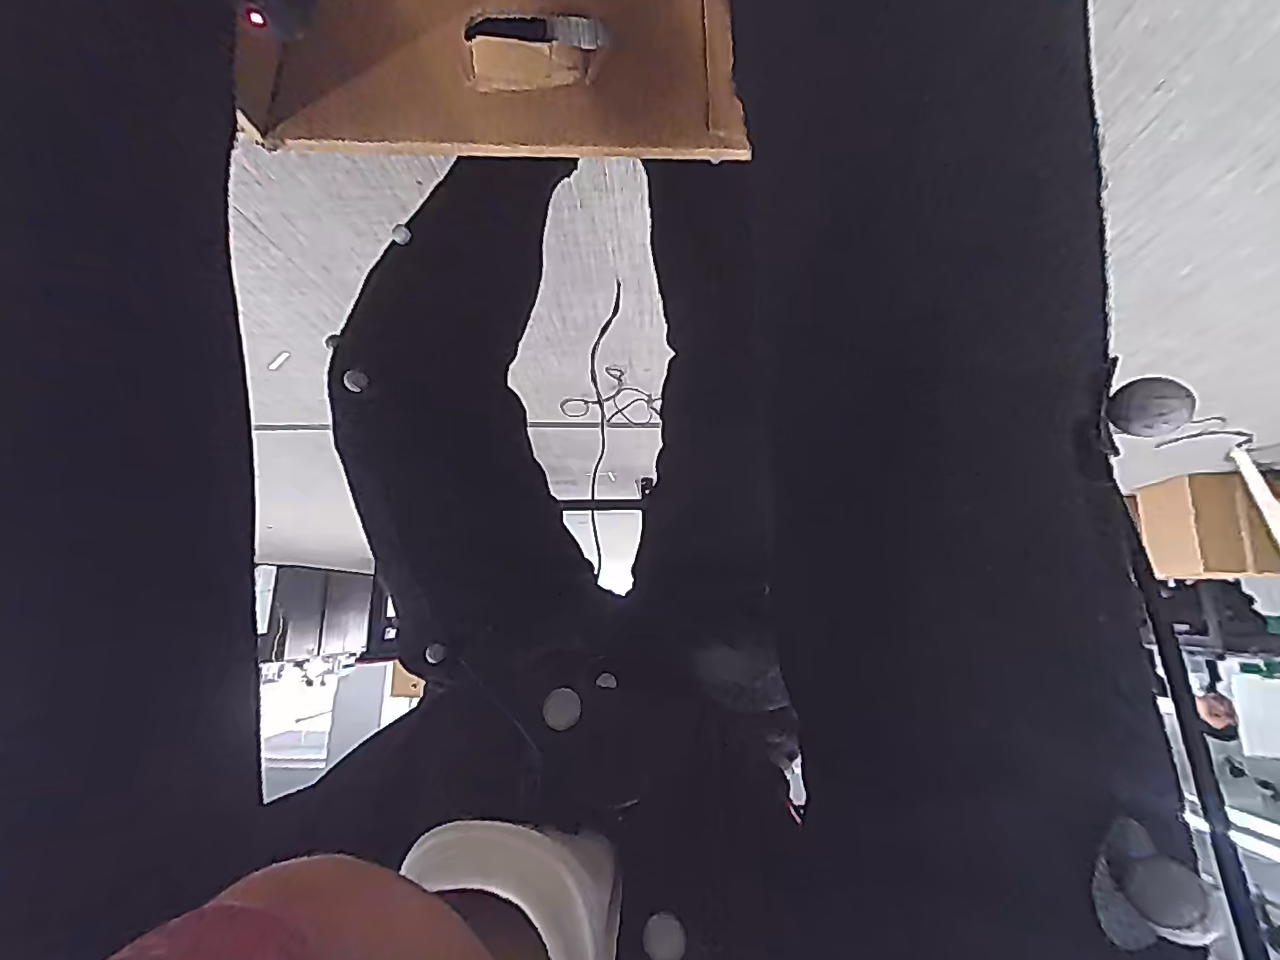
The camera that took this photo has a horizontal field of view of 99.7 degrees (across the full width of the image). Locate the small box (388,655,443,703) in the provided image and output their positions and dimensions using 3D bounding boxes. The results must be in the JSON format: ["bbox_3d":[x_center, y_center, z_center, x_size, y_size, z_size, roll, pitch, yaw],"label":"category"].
[{"bbox_3d":[-0.953,0.846,2.311,0.179,0.176,0.168,0,167,-1],"label":"small box"}]
